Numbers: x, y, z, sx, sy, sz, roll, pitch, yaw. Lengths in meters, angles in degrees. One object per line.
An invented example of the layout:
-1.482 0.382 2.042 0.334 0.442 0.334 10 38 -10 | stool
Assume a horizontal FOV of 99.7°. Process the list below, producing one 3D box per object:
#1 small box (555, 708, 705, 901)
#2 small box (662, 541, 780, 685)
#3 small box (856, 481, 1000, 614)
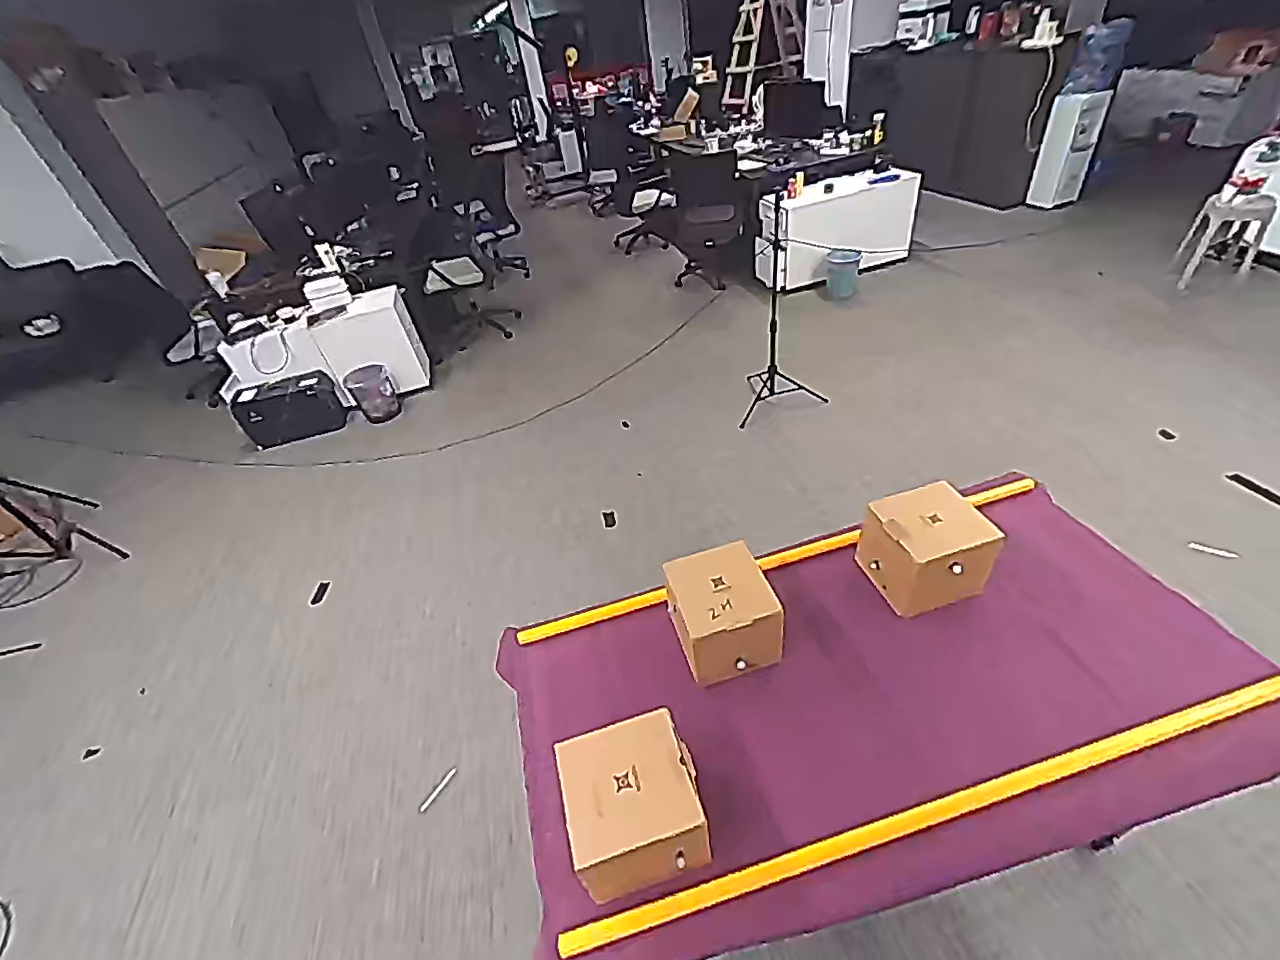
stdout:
-0.013 0.472 0.789 0.179 0.176 0.168 -15 39 -8 | small box
0.148 0.250 1.019 0.168 0.176 0.179 -16 42 -6 | small box
0.553 0.135 1.066 0.179 0.176 0.168 -16 41 -6 | small box
